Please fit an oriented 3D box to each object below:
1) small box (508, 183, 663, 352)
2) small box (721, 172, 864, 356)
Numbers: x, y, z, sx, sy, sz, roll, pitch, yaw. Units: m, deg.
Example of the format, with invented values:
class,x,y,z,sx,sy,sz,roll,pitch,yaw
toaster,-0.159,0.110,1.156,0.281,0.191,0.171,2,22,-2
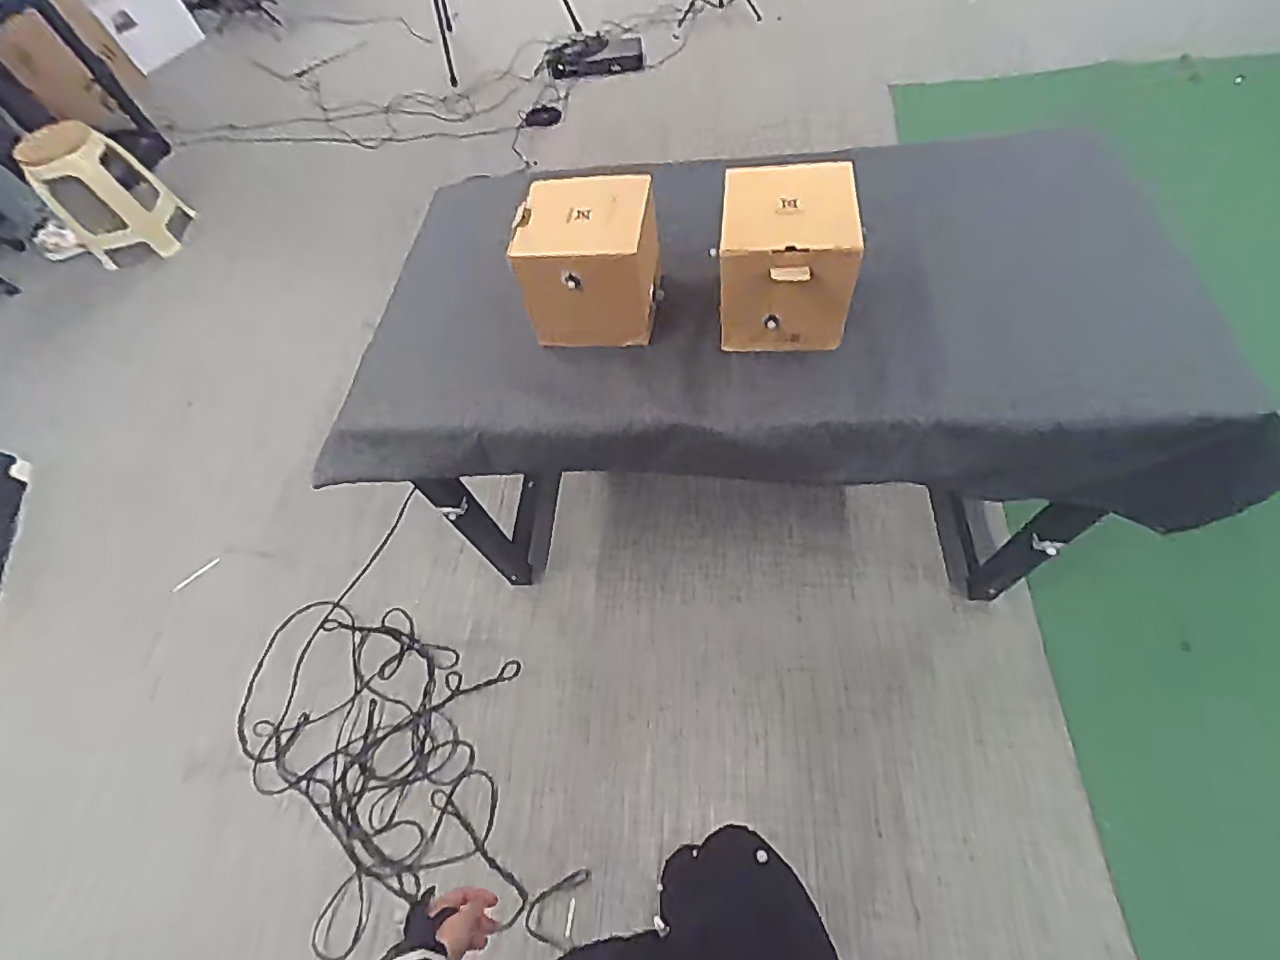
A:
class,x,y,z,sx,sy,sz,roll,pitch,yaw
small box,-0.067,-0.305,0.794,0.179,0.176,0.168,3,60,9
small box,0.199,-0.294,0.749,0.168,0.176,0.179,2,60,9
